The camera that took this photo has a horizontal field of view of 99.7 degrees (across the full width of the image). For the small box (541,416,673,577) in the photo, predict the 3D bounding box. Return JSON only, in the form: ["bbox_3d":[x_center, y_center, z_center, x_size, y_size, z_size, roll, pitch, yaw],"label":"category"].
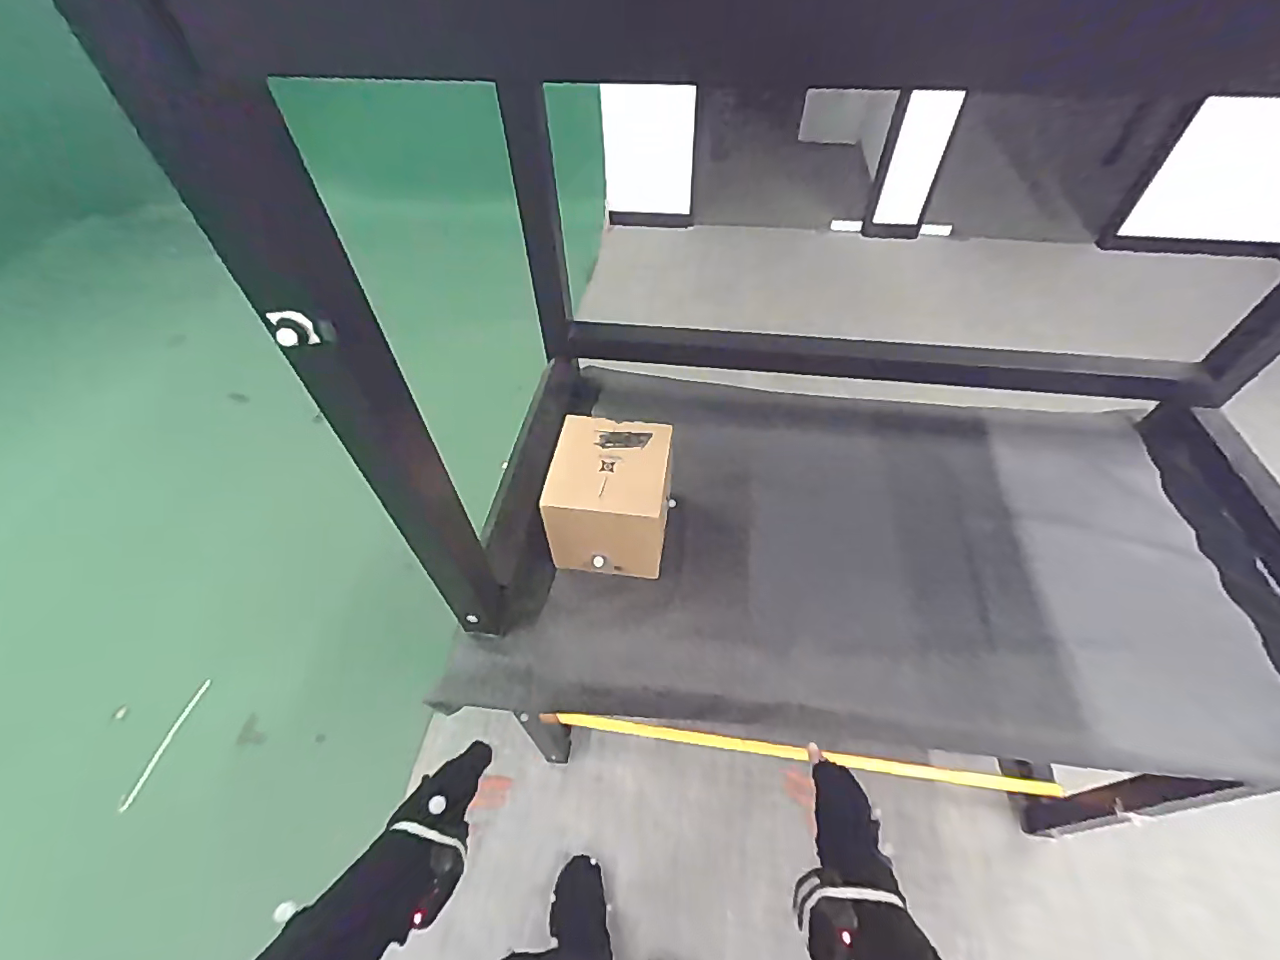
[{"bbox_3d":[-0.043,0.027,0.839,0.168,0.176,0.179,6,51,6],"label":"small box"}]
